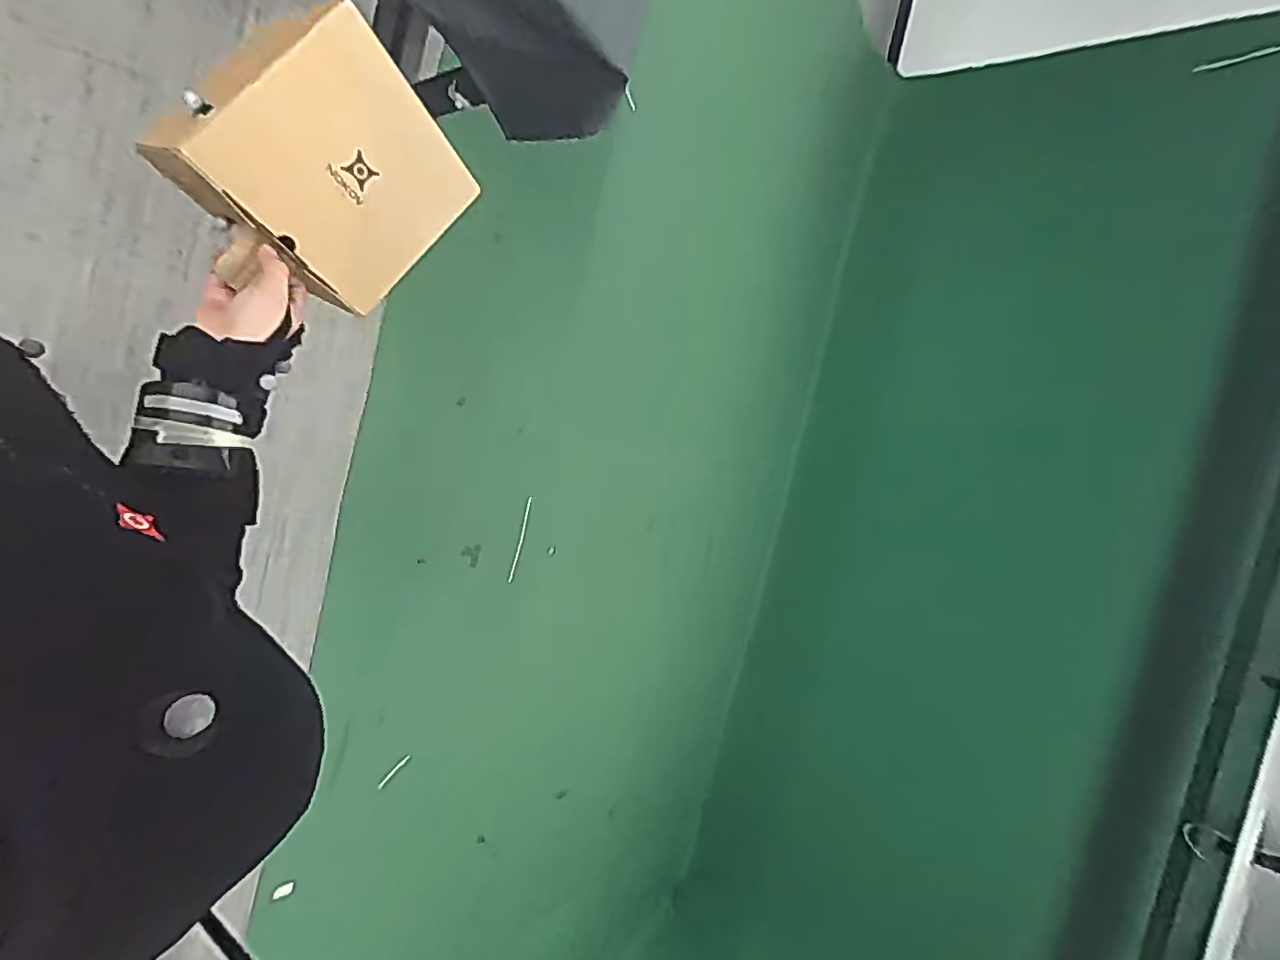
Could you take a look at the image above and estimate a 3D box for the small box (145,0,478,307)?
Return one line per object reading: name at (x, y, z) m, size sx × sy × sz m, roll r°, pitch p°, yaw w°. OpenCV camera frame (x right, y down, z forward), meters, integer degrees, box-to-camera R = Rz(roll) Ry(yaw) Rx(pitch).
small box at (-0.294, -0.295, 0.492) m, size 0.179 × 0.176 × 0.168 m, roll -53°, pitch 145°, yaw -10°
